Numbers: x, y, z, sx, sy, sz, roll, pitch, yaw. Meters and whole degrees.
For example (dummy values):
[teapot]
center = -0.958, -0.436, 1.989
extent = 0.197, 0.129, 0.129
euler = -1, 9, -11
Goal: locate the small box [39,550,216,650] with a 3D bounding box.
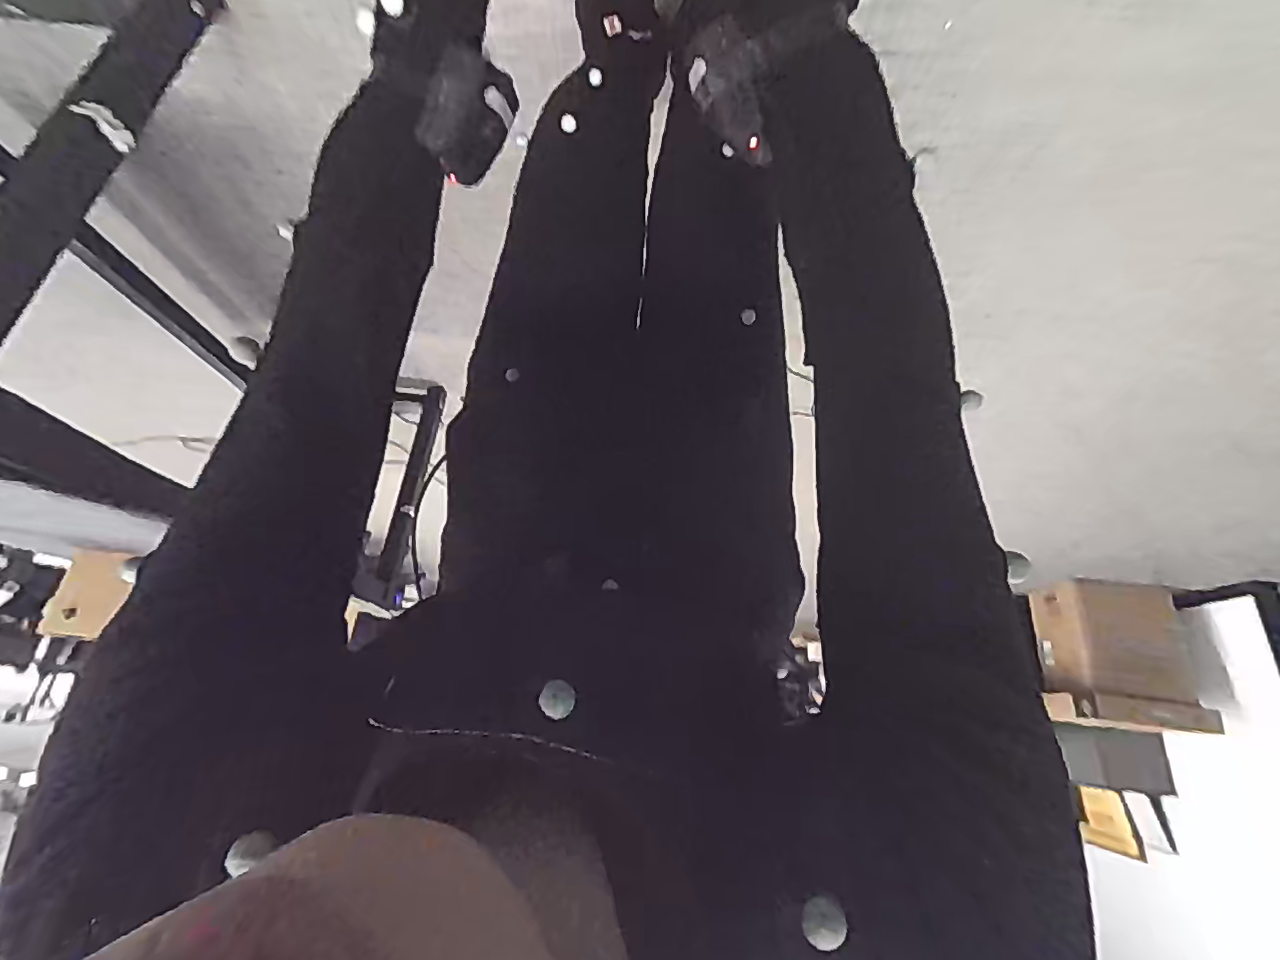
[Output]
[small box]
center = -1.036, 0.248, 1.113
extent = 0.179, 0.176, 0.168
euler = 6, 158, 0
